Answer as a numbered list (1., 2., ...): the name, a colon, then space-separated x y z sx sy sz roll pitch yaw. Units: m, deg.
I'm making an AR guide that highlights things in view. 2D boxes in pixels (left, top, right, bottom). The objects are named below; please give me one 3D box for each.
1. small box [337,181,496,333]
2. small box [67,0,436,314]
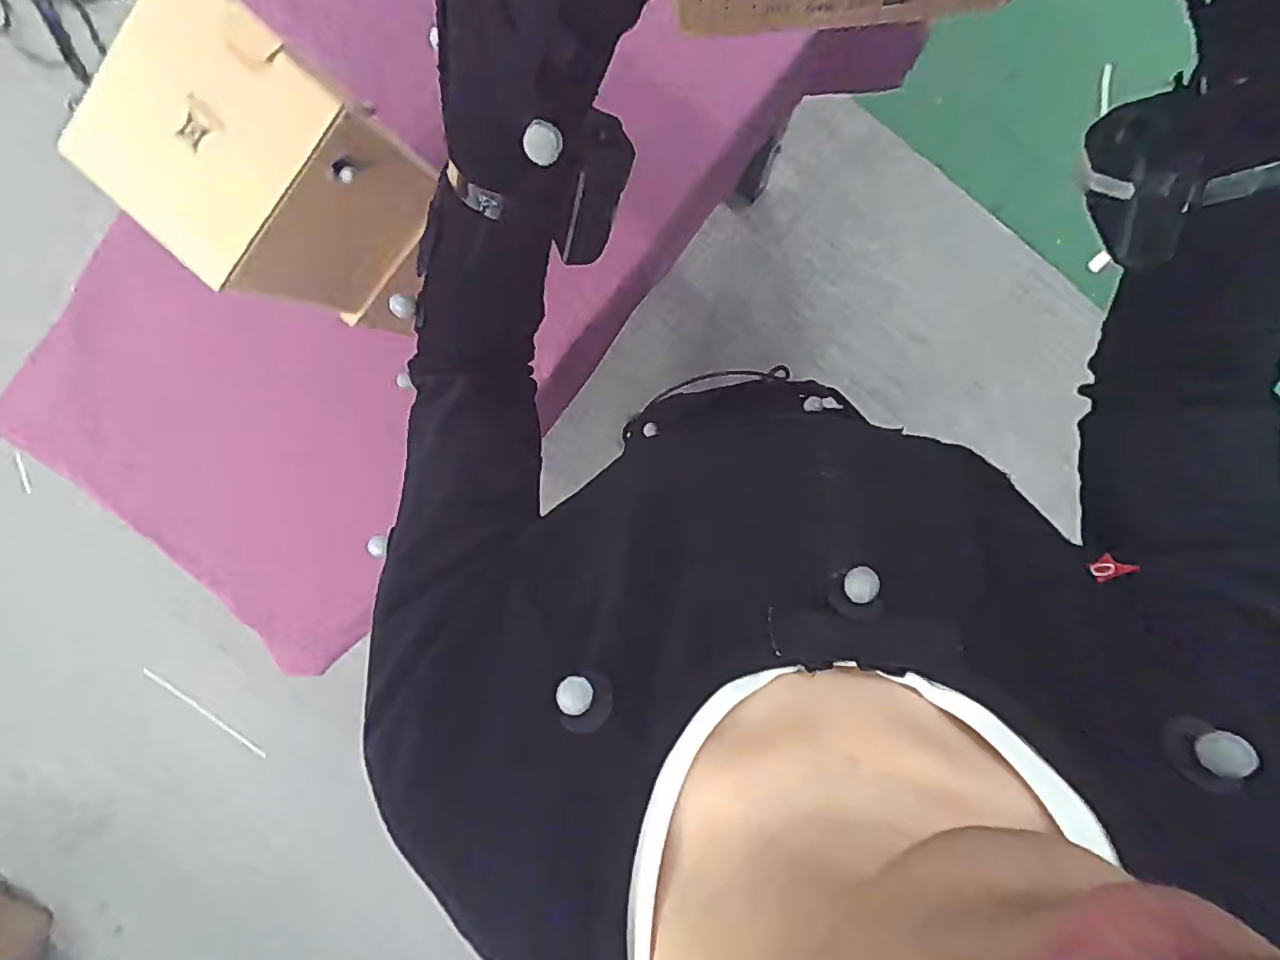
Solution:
1. small box: -0.307 -0.293 0.642 0.179 0.176 0.168 43 101 -3
2. small box: -0.320 -0.273 0.482 0.168 0.176 0.179 42 101 -2
